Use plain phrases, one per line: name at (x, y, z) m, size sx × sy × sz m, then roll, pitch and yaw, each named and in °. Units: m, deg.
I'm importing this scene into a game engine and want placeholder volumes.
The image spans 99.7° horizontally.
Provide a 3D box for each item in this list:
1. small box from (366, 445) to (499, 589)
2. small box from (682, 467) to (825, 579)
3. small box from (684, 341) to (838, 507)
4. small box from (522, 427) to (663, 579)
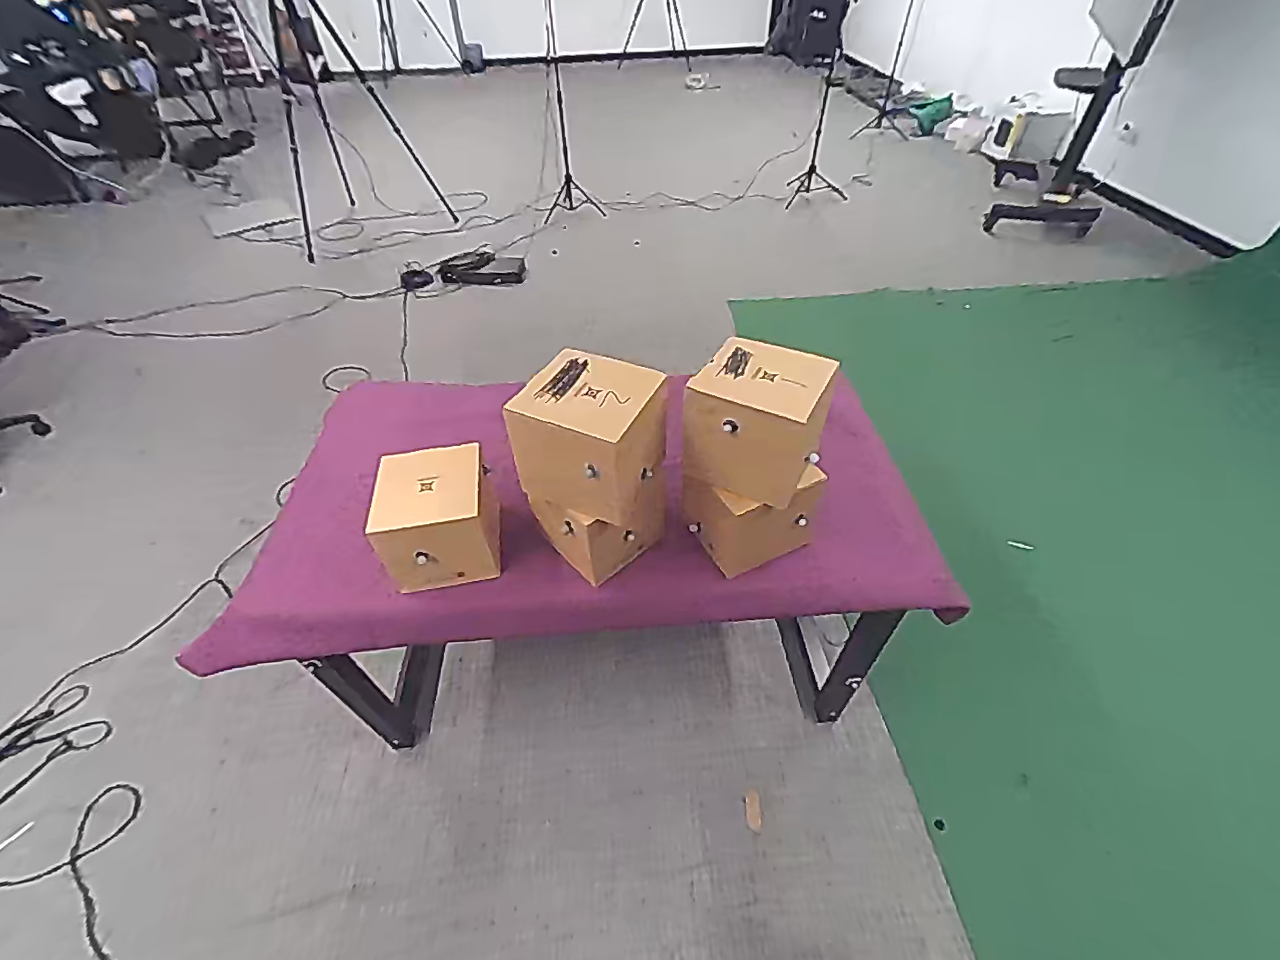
small box at (-0.339, 0.069, 0.920) m, size 0.168 × 0.176 × 0.179 m, roll -9°, pitch 45°, yaw -7°
small box at (0.184, 0.039, 0.936) m, size 0.179 × 0.176 × 0.168 m, roll -21°, pitch 47°, yaw -17°
small box at (0.177, -0.086, 0.830) m, size 0.179 × 0.176 × 0.168 m, roll 22°, pitch 48°, yaw 22°
small box at (-0.076, 0.046, 0.934) m, size 0.168 × 0.176 × 0.179 m, roll -33°, pitch 53°, yaw -28°
